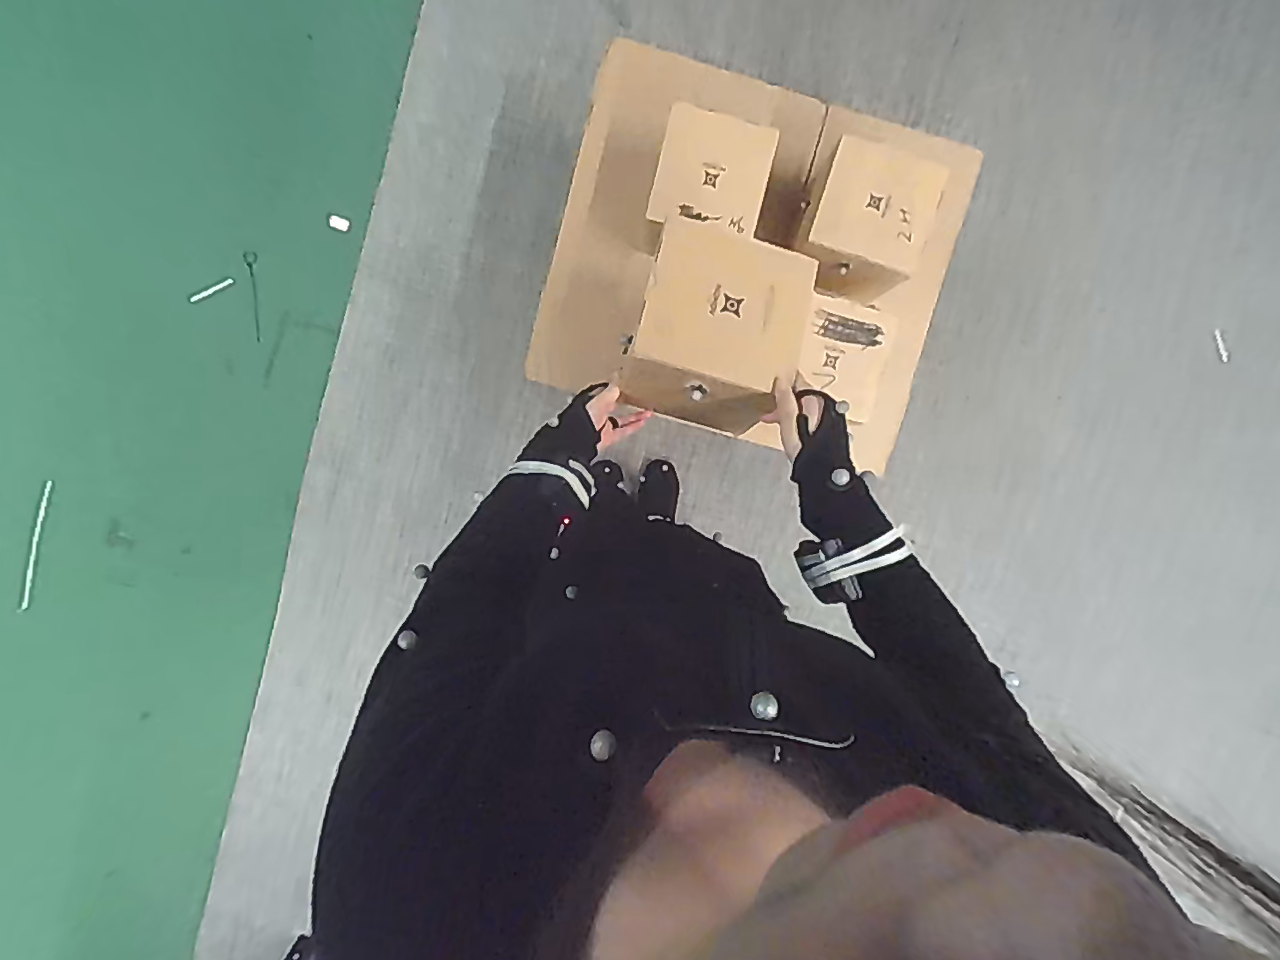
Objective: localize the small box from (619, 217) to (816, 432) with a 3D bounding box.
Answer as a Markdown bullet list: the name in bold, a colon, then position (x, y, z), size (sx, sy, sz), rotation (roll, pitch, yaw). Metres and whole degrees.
- **small box**: position (0.080, -0.169, 0.646), size (0.179, 0.176, 0.168), rotation (16, 79, -5)

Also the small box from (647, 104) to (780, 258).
- **small box**: position (0.108, -0.453, 0.878), size (0.168, 0.176, 0.179), rotation (14, 93, 0)
